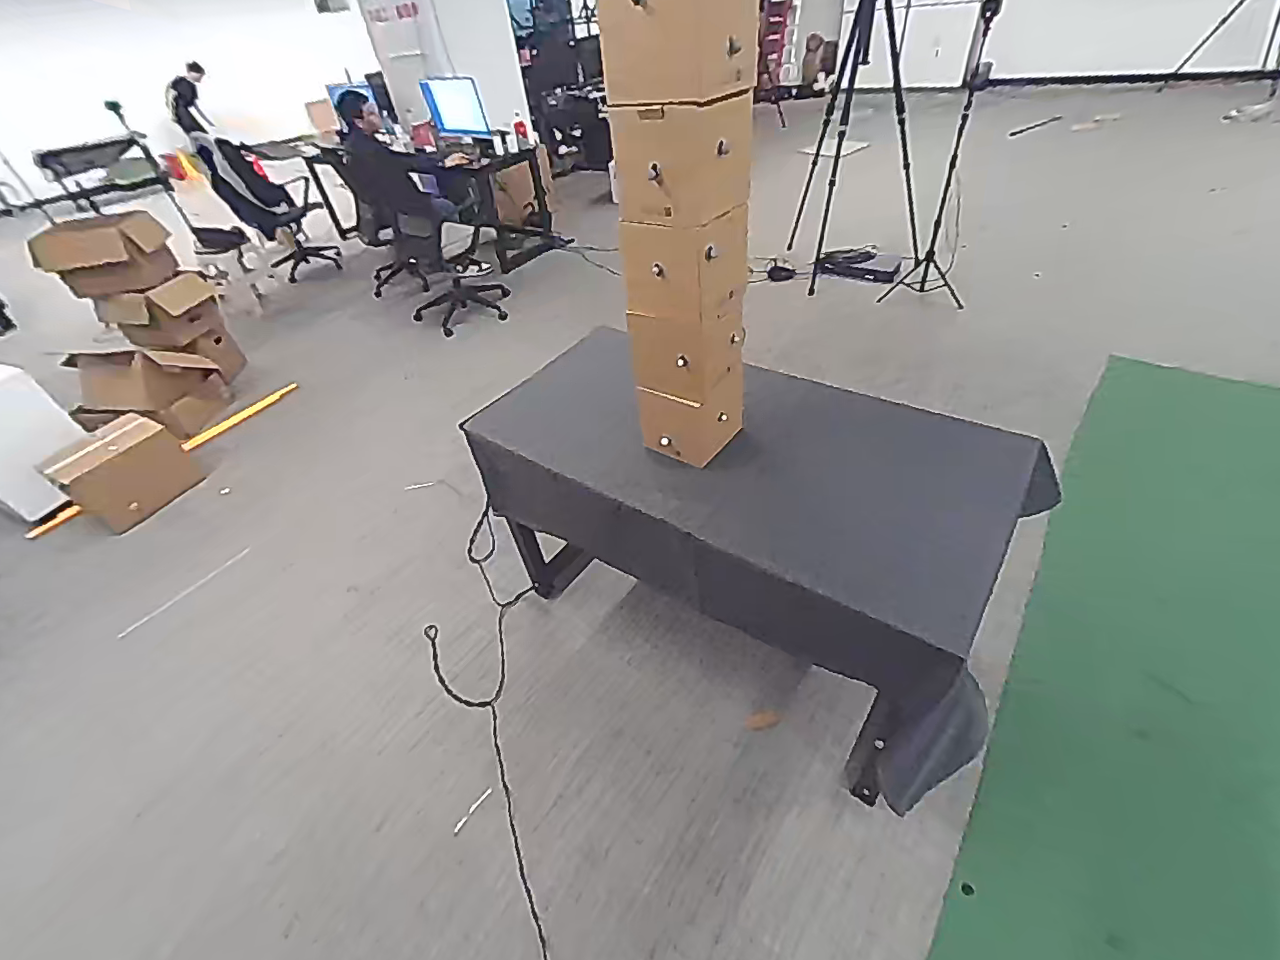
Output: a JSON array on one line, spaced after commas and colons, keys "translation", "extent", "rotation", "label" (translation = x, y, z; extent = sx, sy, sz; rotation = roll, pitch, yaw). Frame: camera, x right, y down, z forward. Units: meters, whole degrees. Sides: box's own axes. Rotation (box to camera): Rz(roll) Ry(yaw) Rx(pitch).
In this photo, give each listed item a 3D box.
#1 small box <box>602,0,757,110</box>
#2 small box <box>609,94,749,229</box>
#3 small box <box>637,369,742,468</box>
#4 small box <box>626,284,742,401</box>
[{"translation": [0.058, -0.662, 0.803], "extent": [0.179, 0.176, 0.168], "rotation": [23, 48, 31], "label": "small box"}, {"translation": [0.073, -0.540, 0.914], "extent": [0.168, 0.176, 0.179], "rotation": [22, 49, 30], "label": "small box"}, {"translation": [0.113, -0.157, 1.217], "extent": [0.168, 0.176, 0.179], "rotation": [23, 51, 31], "label": "small box"}, {"translation": [0.095, -0.282, 1.114], "extent": [0.179, 0.176, 0.168], "rotation": [21, 48, 30], "label": "small box"}]
